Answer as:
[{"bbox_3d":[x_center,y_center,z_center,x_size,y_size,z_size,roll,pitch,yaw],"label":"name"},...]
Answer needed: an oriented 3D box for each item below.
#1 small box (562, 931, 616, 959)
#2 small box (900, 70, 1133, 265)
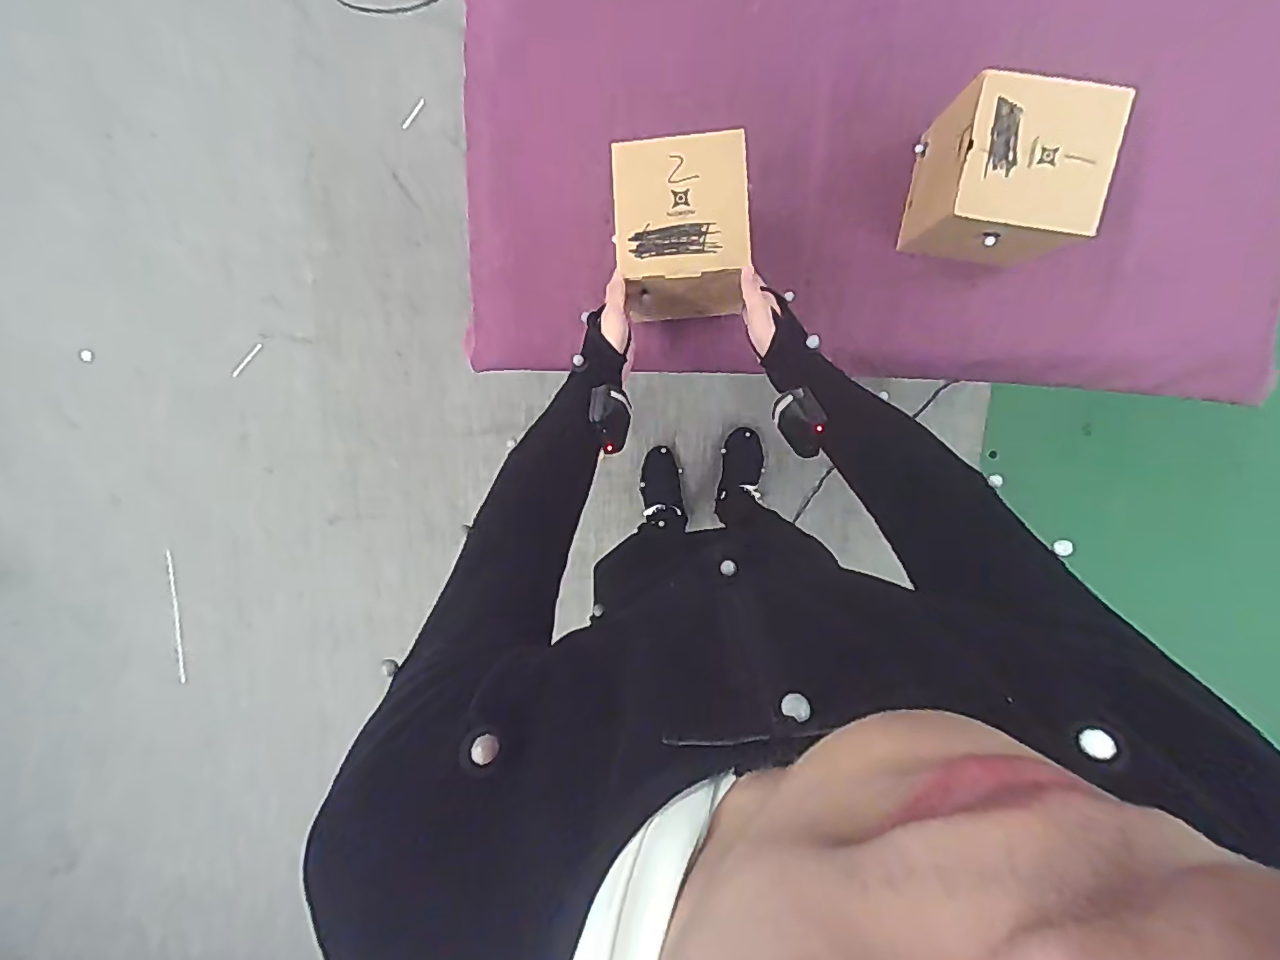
[{"bbox_3d":[-0.183,1.670,1.815,0.179,0.176,0.168,7,100,3],"label":"small box"},{"bbox_3d":[0.478,-0.398,0.720,0.179,0.176,0.168,10,100,1],"label":"small box"}]
